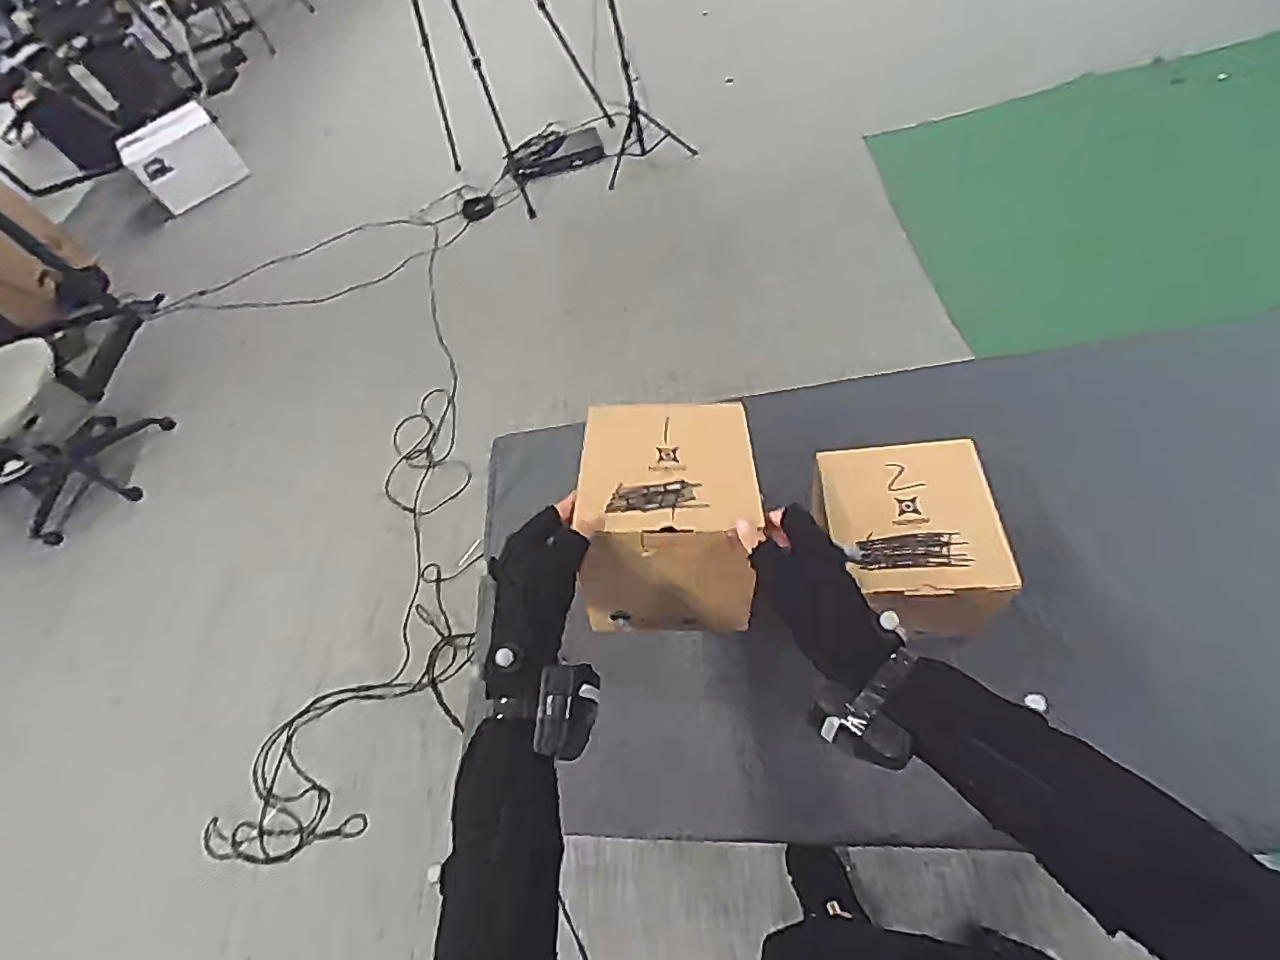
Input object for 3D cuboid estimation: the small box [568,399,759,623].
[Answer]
[{"bbox_3d":[0.027,0.035,0.566,0.168,0.176,0.179,-1,46,3],"label":"small box"}]
